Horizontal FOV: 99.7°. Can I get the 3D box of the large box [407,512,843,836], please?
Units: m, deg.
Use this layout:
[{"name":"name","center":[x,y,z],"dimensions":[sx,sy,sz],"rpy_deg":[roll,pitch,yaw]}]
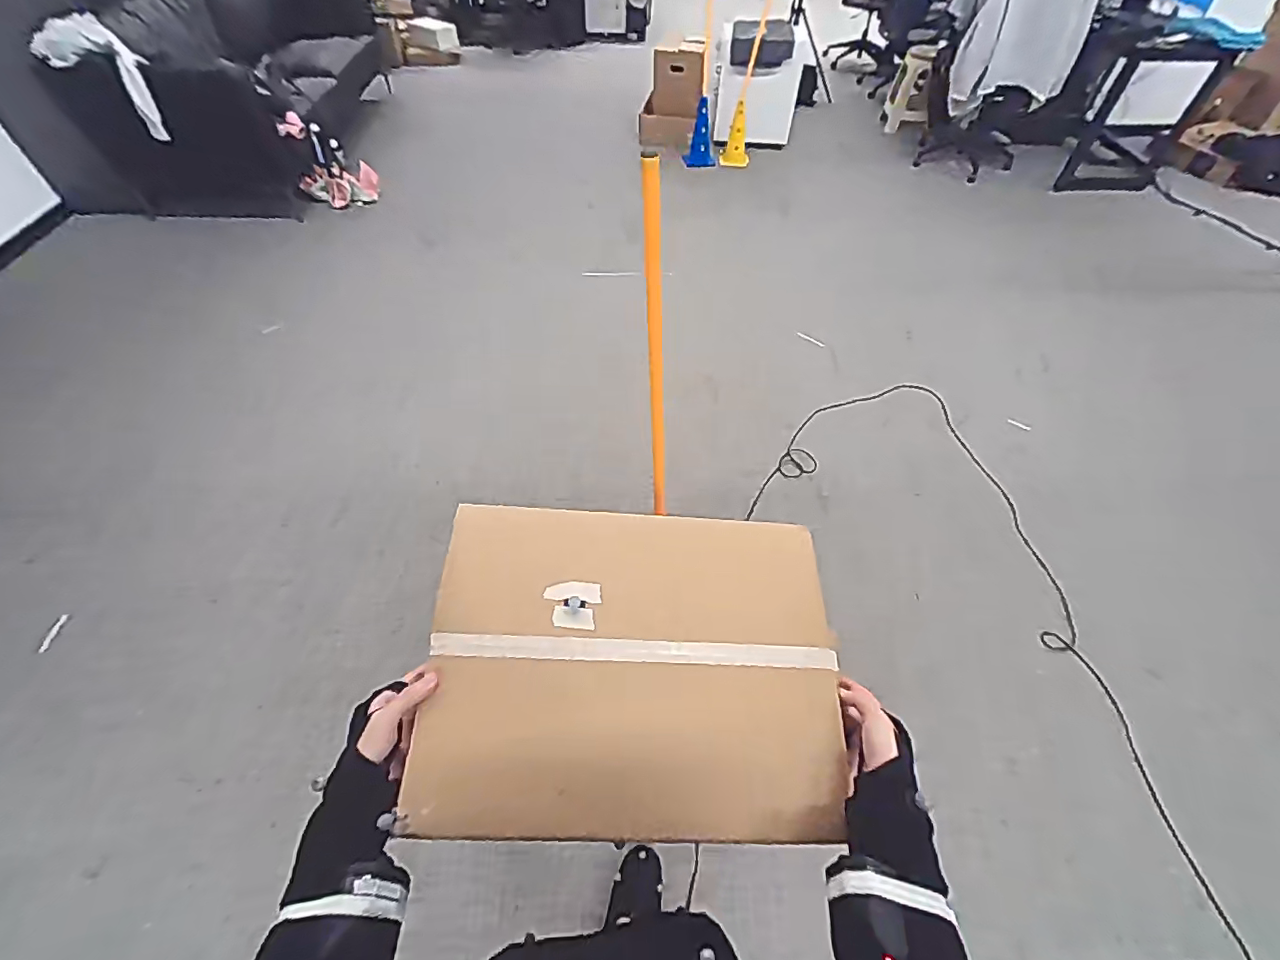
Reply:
[{"name":"large box","center":[-0.018,0.251,0.687],"dimensions":[0.408,0.320,0.320],"rpy_deg":[4,60,-4]}]
